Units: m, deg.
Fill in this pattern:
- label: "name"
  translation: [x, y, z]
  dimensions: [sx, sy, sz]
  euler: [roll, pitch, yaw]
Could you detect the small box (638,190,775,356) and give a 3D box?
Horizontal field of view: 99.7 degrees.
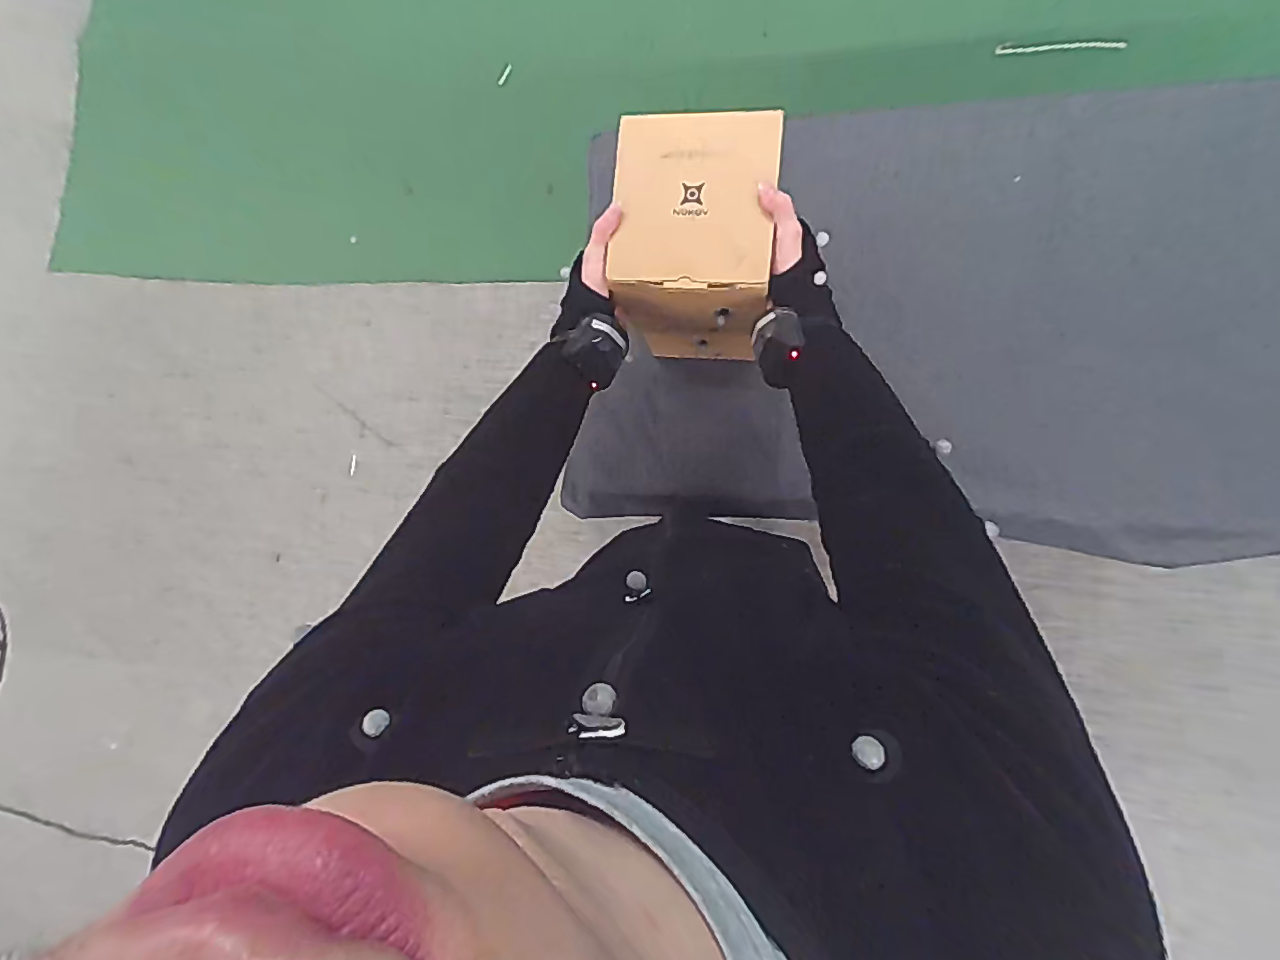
- label: "small box"
  translation: [0.098, -0.285, 0.775]
  dimensions: [0.168, 0.176, 0.179]
  euler: [5, 87, 9]
